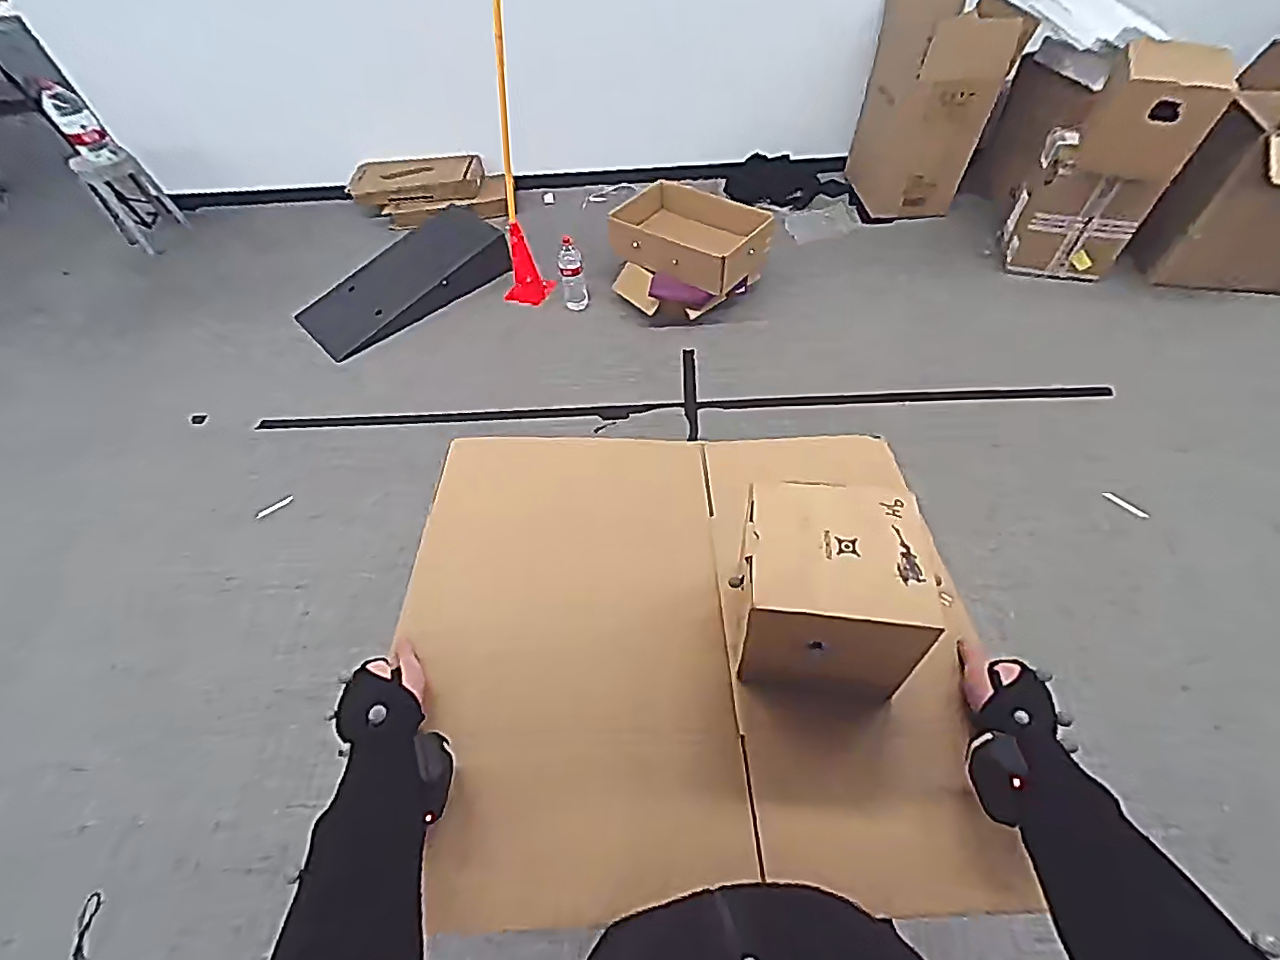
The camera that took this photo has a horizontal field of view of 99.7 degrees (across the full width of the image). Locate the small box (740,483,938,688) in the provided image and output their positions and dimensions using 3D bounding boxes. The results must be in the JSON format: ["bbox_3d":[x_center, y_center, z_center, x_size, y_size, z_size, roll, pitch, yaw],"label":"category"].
[{"bbox_3d":[0.207,0.122,0.617,0.179,0.176,0.168,3,49,9],"label":"small box"}]
